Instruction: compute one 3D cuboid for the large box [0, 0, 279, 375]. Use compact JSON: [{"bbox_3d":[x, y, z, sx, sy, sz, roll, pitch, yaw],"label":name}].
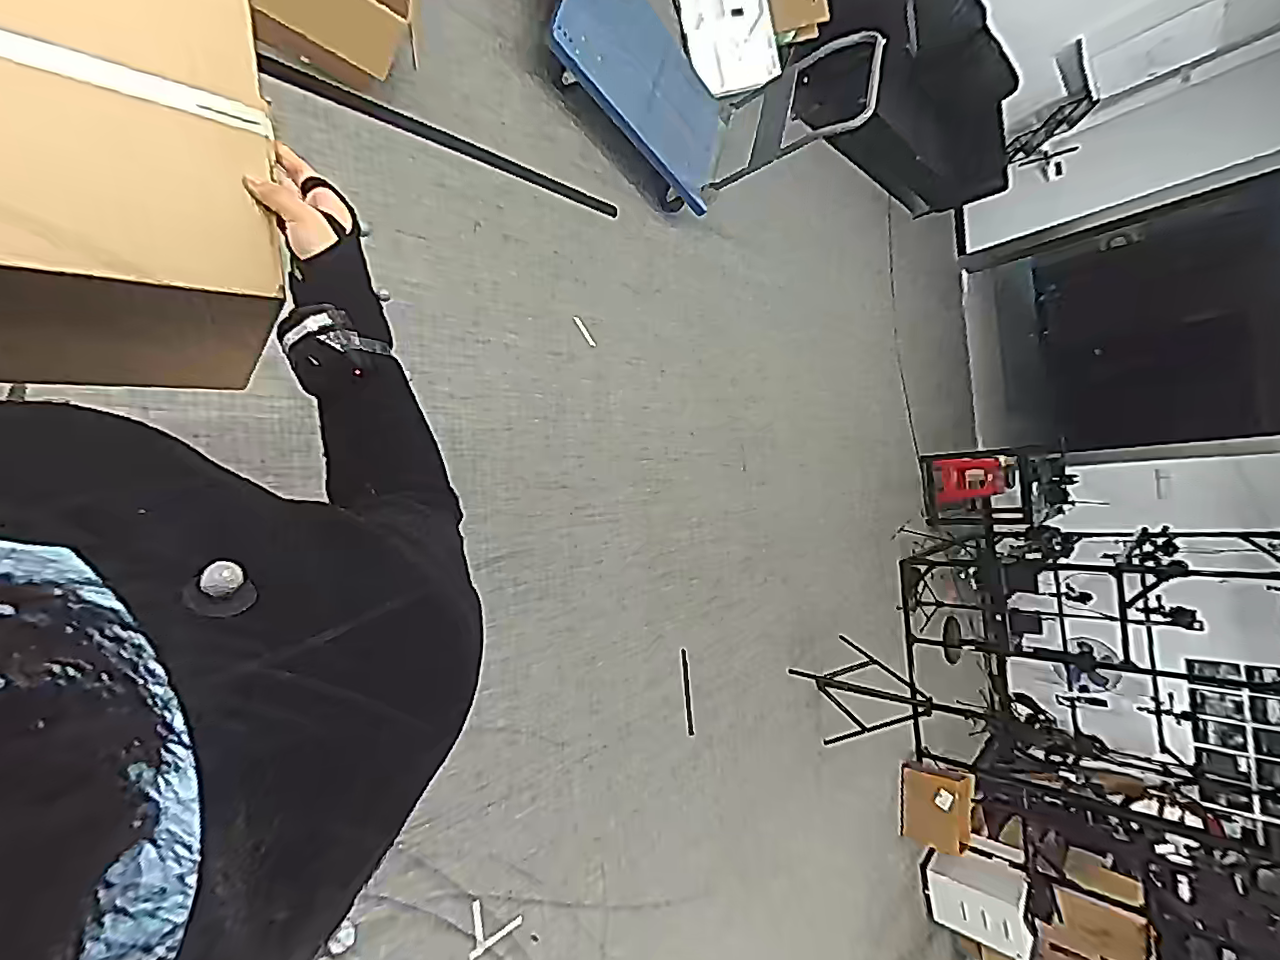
[{"bbox_3d":[-0.588,-0.281,0.462,0.408,0.320,0.320,-7,86,-42],"label":"large box"}]
